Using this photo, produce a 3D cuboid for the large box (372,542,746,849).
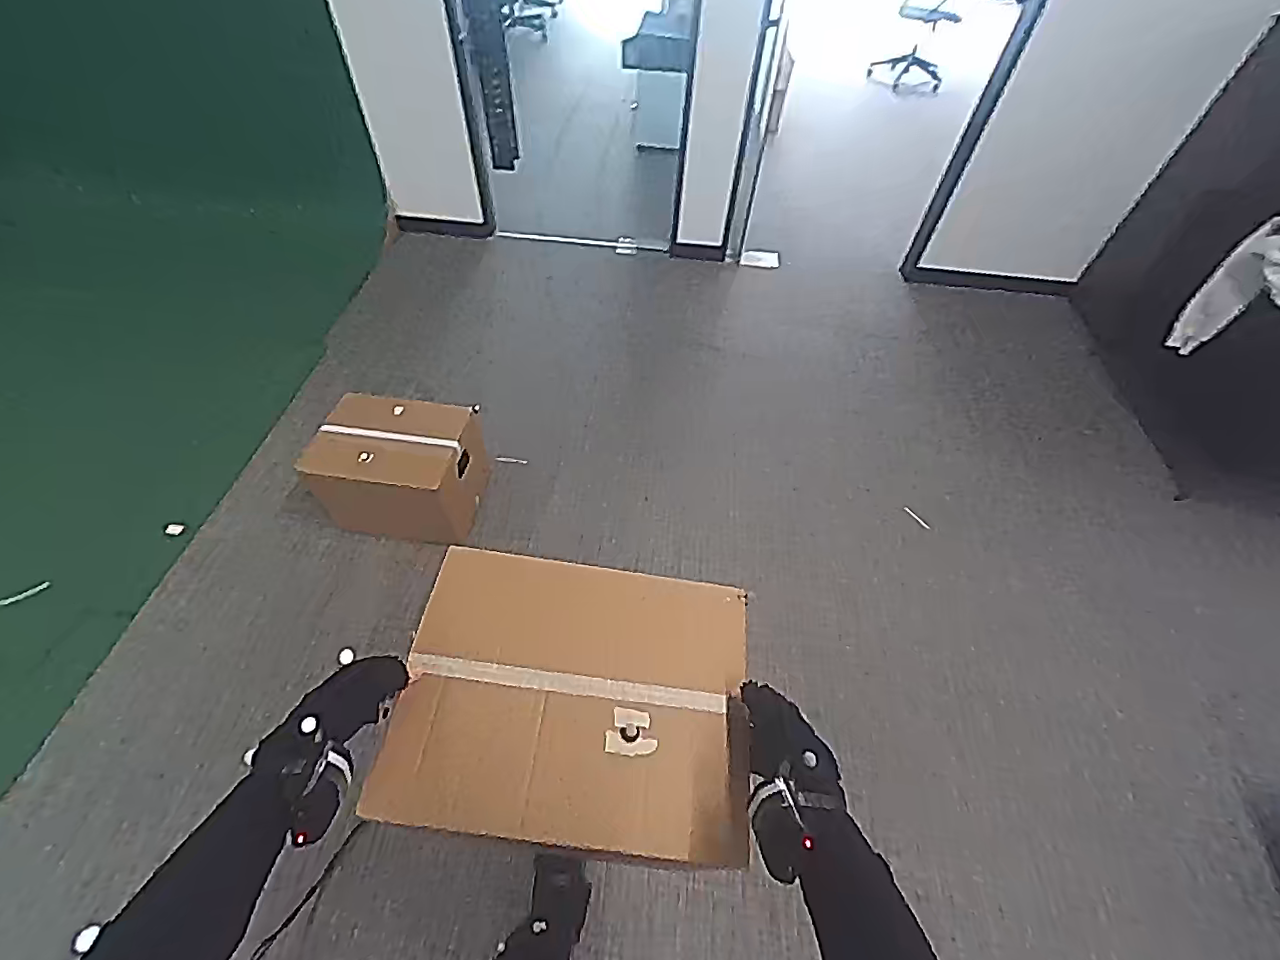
[{"bbox_3d":[-0.091,0.318,0.772,0.408,0.320,0.320,9,54,-3],"label":"large box"}]
